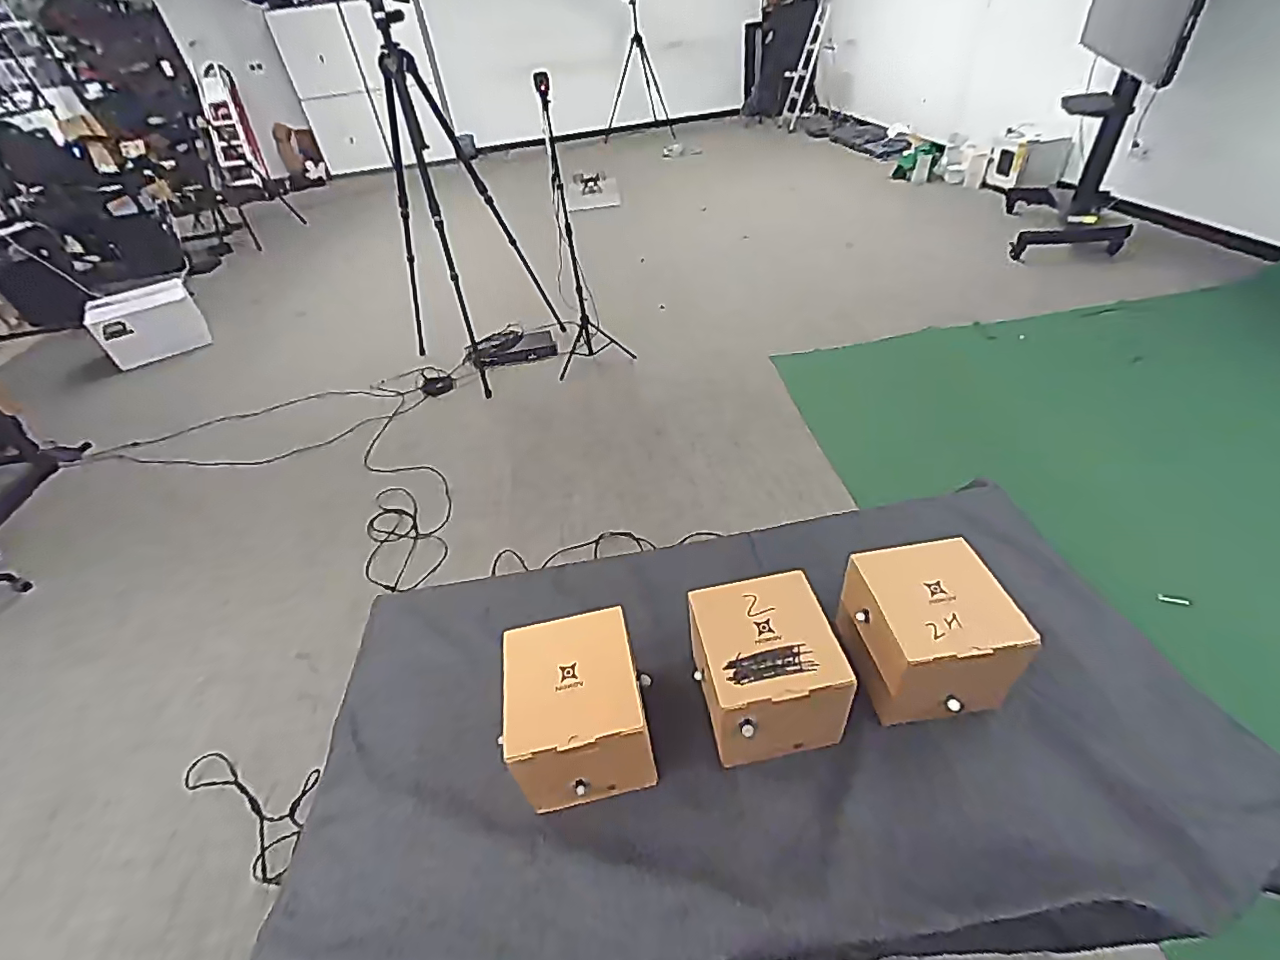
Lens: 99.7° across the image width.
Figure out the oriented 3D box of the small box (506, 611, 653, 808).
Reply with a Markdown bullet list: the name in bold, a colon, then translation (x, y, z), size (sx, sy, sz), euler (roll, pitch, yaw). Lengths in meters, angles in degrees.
- **small box**: translation (-0.081, 0.311, 0.739), size (0.168, 0.176, 0.179), euler (-11, 42, -4)
